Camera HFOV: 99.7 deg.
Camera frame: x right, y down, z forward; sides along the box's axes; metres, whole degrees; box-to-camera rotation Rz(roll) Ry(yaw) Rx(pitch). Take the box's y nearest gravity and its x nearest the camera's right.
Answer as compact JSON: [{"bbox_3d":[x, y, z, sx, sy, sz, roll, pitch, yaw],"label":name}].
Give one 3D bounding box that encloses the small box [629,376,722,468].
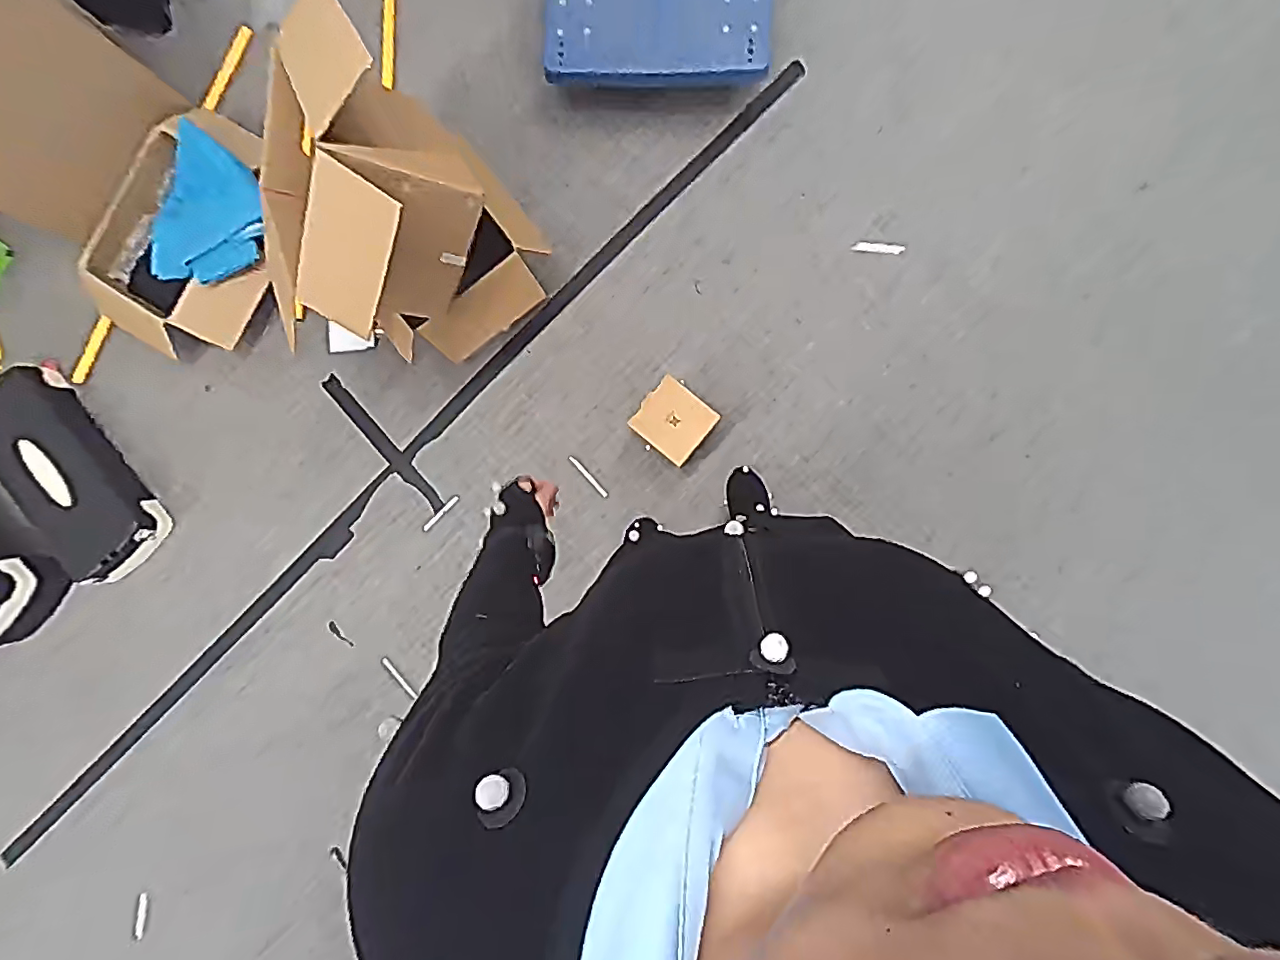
[{"bbox_3d":[0.097,-0.148,1.431,0.179,0.176,0.168,40,92,5],"label":"small box"}]
